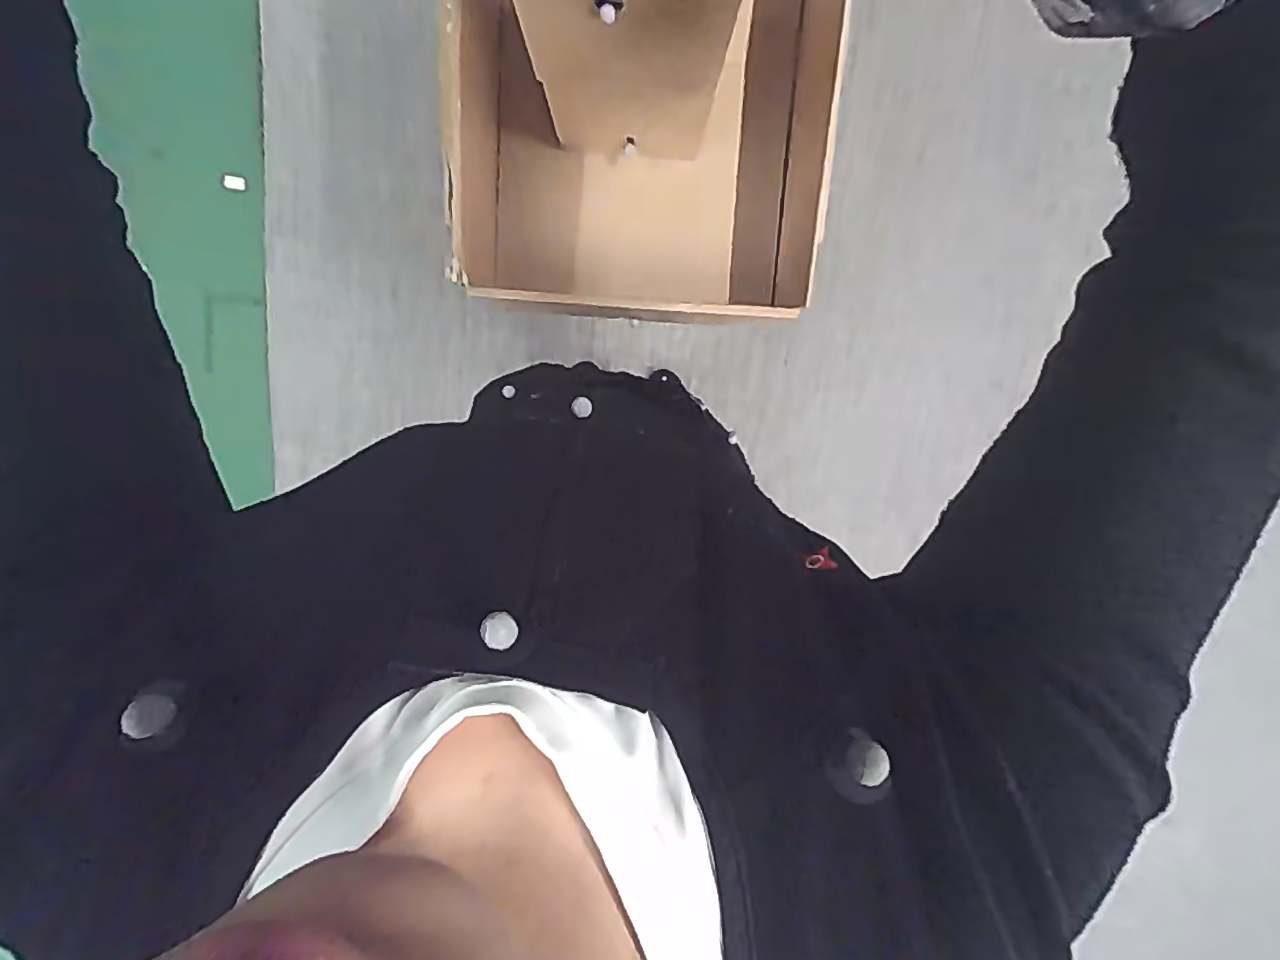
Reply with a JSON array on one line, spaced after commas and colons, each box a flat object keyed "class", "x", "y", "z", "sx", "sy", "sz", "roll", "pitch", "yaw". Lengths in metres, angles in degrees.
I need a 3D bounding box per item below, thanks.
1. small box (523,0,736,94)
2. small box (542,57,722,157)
[{"class": "small box", "x": -0.003, "y": -0.447, "z": 0.433, "sx": 0.179, "sy": 0.176, "sz": 0.168, "roll": 6, "pitch": 100, "yaw": -3}, {"class": "small box", "x": -0.006, "y": -0.480, "z": 0.594, "sx": 0.179, "sy": 0.176, "sz": 0.168, "roll": 4, "pitch": 99, "yaw": -2}]
